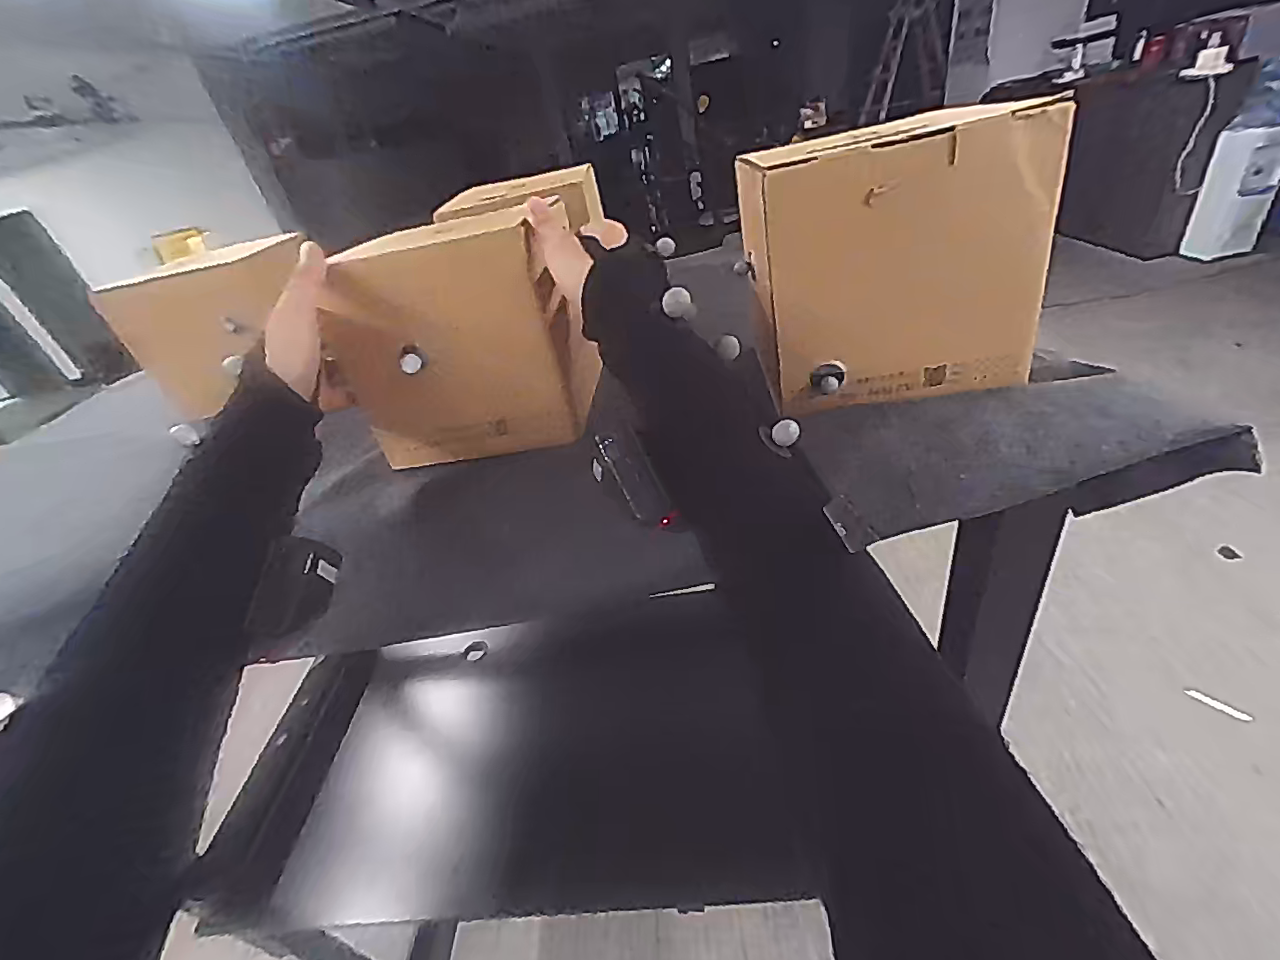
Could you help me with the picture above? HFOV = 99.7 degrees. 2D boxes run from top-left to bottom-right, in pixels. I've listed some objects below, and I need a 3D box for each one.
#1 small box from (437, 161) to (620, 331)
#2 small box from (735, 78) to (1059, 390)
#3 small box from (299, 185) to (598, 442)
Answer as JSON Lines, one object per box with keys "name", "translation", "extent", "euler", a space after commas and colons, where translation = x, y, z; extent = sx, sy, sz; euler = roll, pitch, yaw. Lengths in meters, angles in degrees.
{"name": "small box", "translation": [-0.123, -0.286, 0.679], "extent": [0.168, 0.176, 0.179], "euler": [-9, 33, 6]}
{"name": "small box", "translation": [0.170, -0.176, 0.412], "extent": [0.168, 0.176, 0.179], "euler": [-8, 31, 9]}
{"name": "small box", "translation": [-0.139, -0.142, 0.475], "extent": [0.168, 0.176, 0.179], "euler": [-8, 31, 8]}
